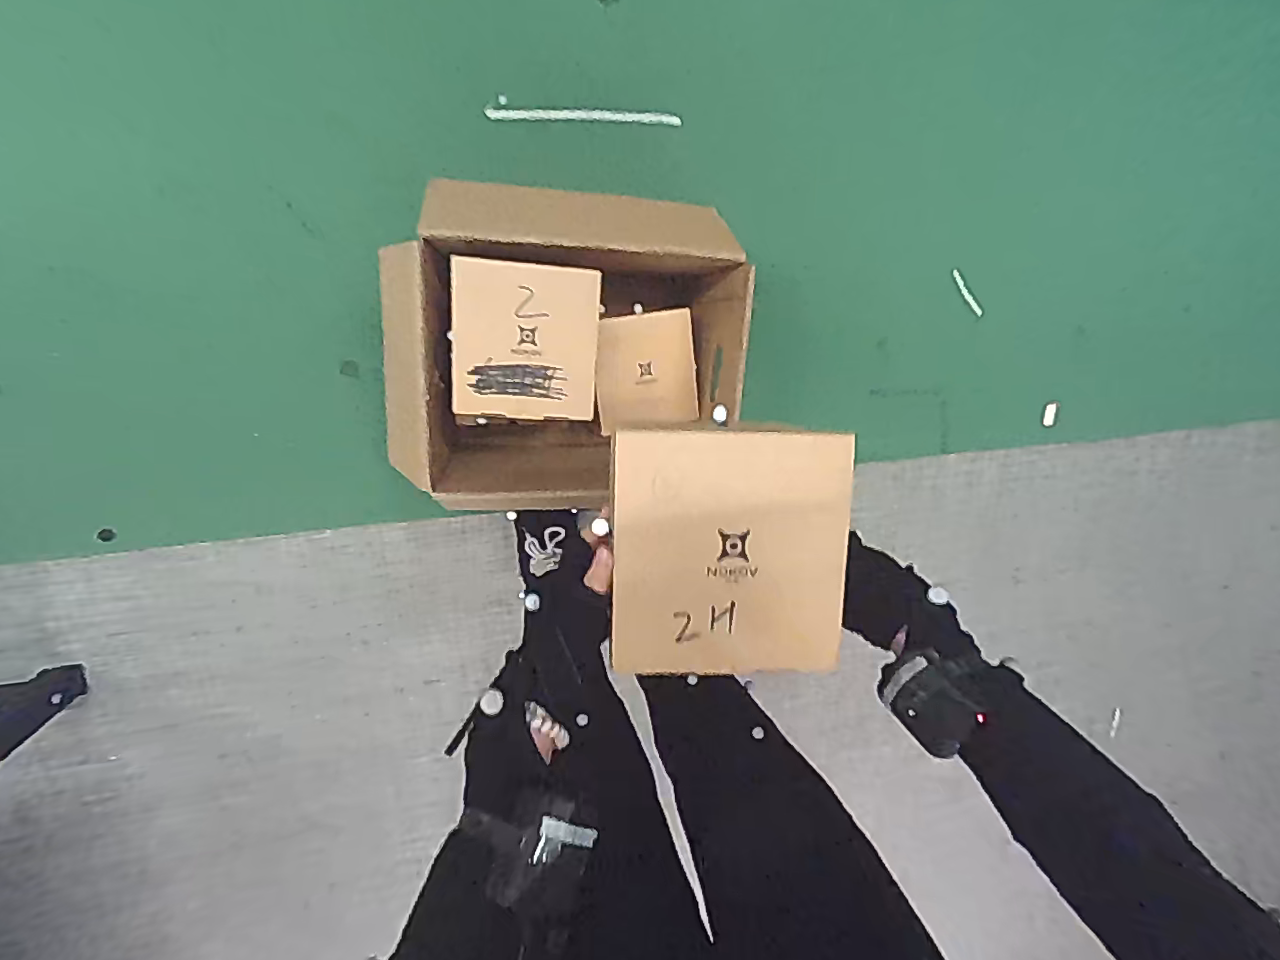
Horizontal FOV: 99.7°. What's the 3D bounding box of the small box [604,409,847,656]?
[{"bbox_3d":[0.055,0.030,0.460,0.168,0.176,0.179,2,98,-4],"label":"small box"}]
